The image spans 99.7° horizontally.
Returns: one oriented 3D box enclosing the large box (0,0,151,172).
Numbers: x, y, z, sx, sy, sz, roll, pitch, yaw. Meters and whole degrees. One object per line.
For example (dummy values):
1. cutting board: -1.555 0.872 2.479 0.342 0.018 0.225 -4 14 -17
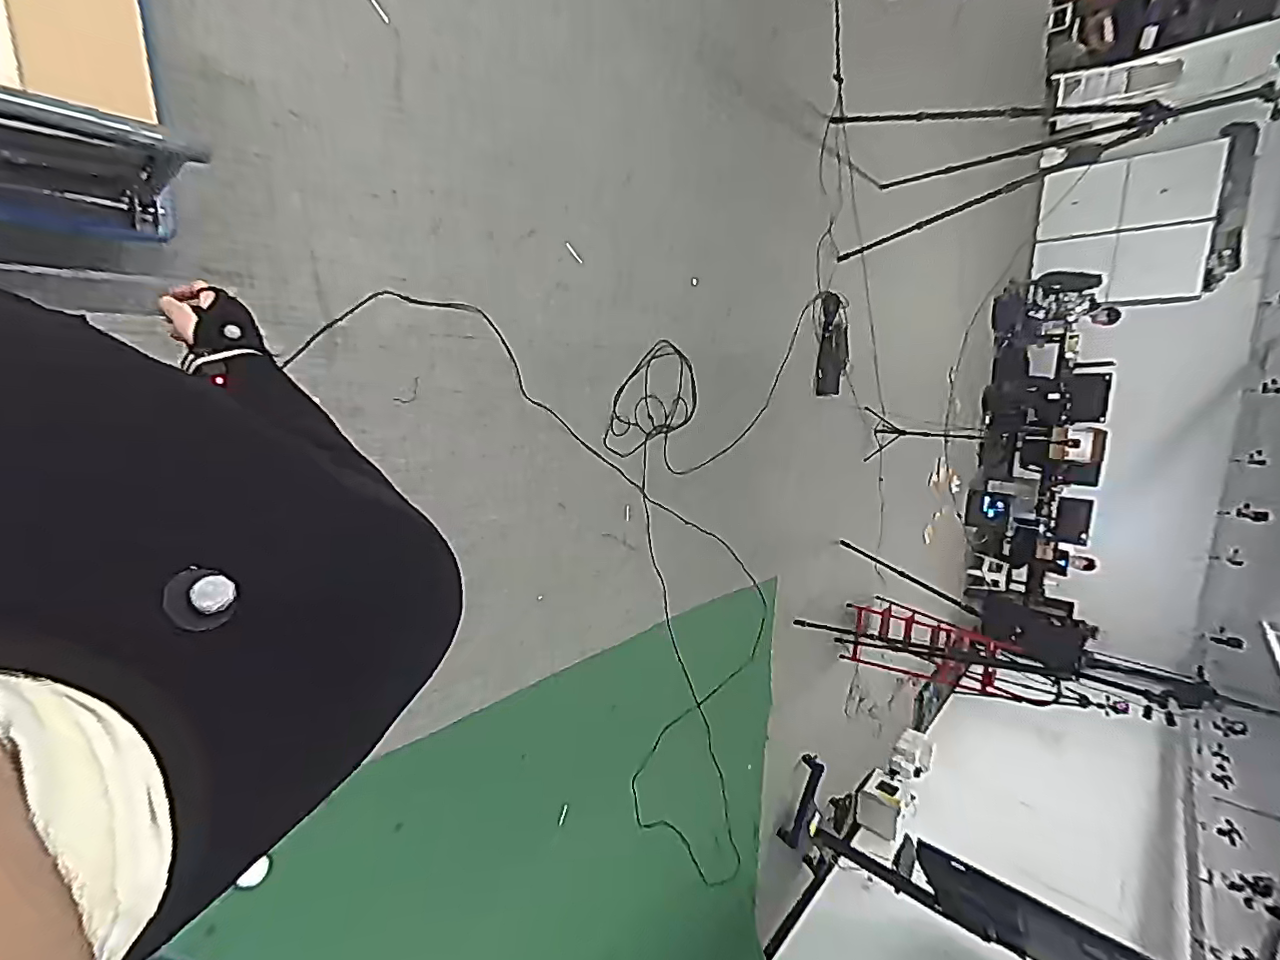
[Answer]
1. large box: -0.976 -0.735 0.794 0.320 0.320 0.408 -13 107 -45
